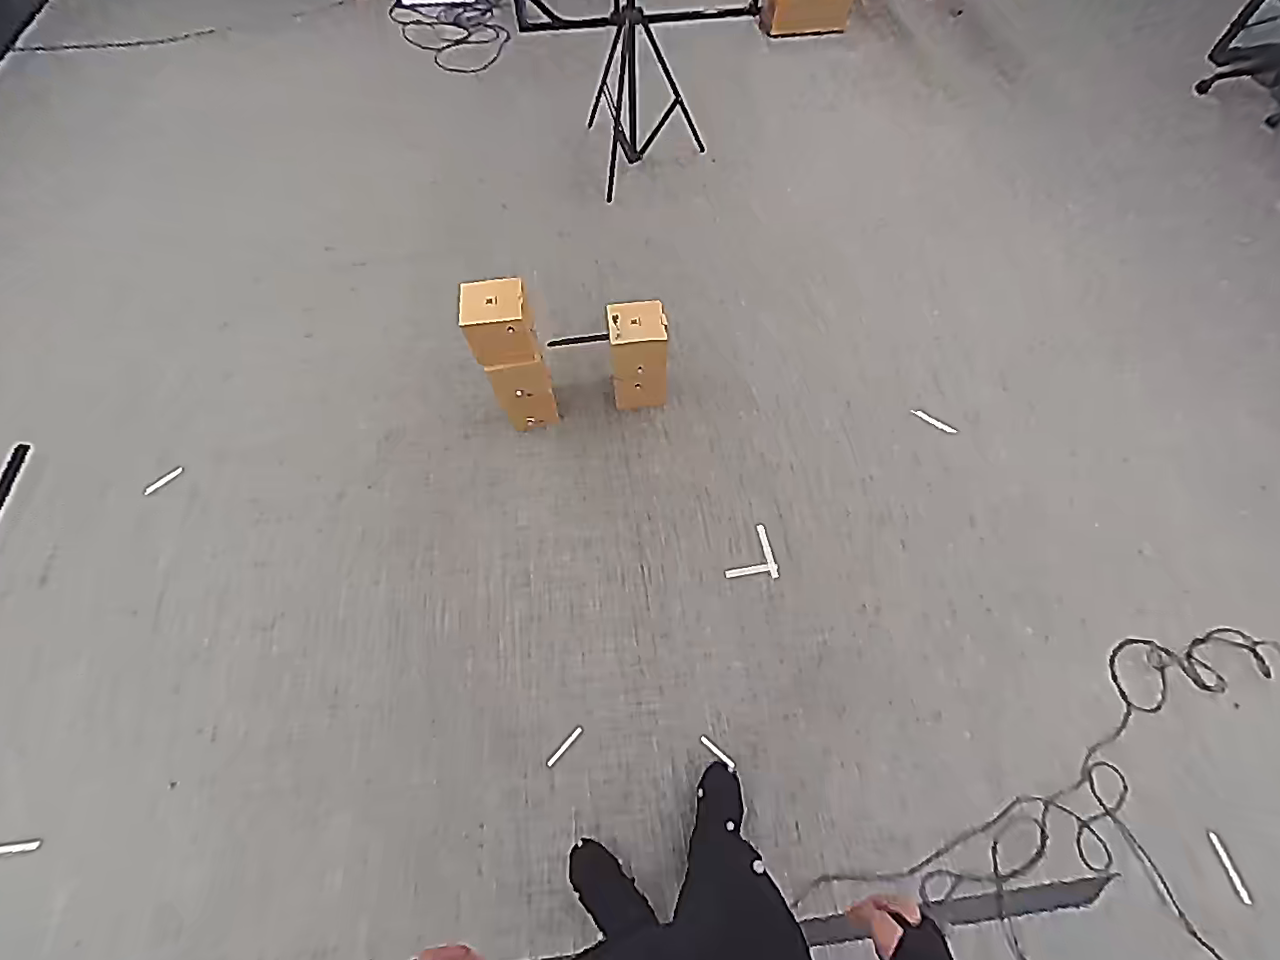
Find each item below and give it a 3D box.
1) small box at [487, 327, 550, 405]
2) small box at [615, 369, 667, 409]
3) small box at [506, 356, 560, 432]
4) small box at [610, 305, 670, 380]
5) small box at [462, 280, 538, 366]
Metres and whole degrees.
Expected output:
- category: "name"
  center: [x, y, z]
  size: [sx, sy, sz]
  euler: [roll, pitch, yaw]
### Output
- category: "small box"
  center: [-0.384, -0.364, 1.705]
  size: [0.168, 0.176, 0.179]
  euler: [-11, 63, -4]
- category: "small box"
  center: [-0.001, -0.360, 1.883]
  size: [0.179, 0.176, 0.168]
  euler: [-6, 62, -3]
- category: "small box"
  center: [-0.375, -0.292, 1.852]
  size: [0.168, 0.176, 0.179]
  euler: [-13, 63, -5]
- category: "small box"
  center: [-0.003, -0.439, 1.739]
  size: [0.179, 0.176, 0.168]
  euler: [-5, 61, -3]
- category: "small box"
  center: [-0.400, -0.449, 1.566]
  size: [0.179, 0.176, 0.168]
  euler: [-7, 62, -2]
